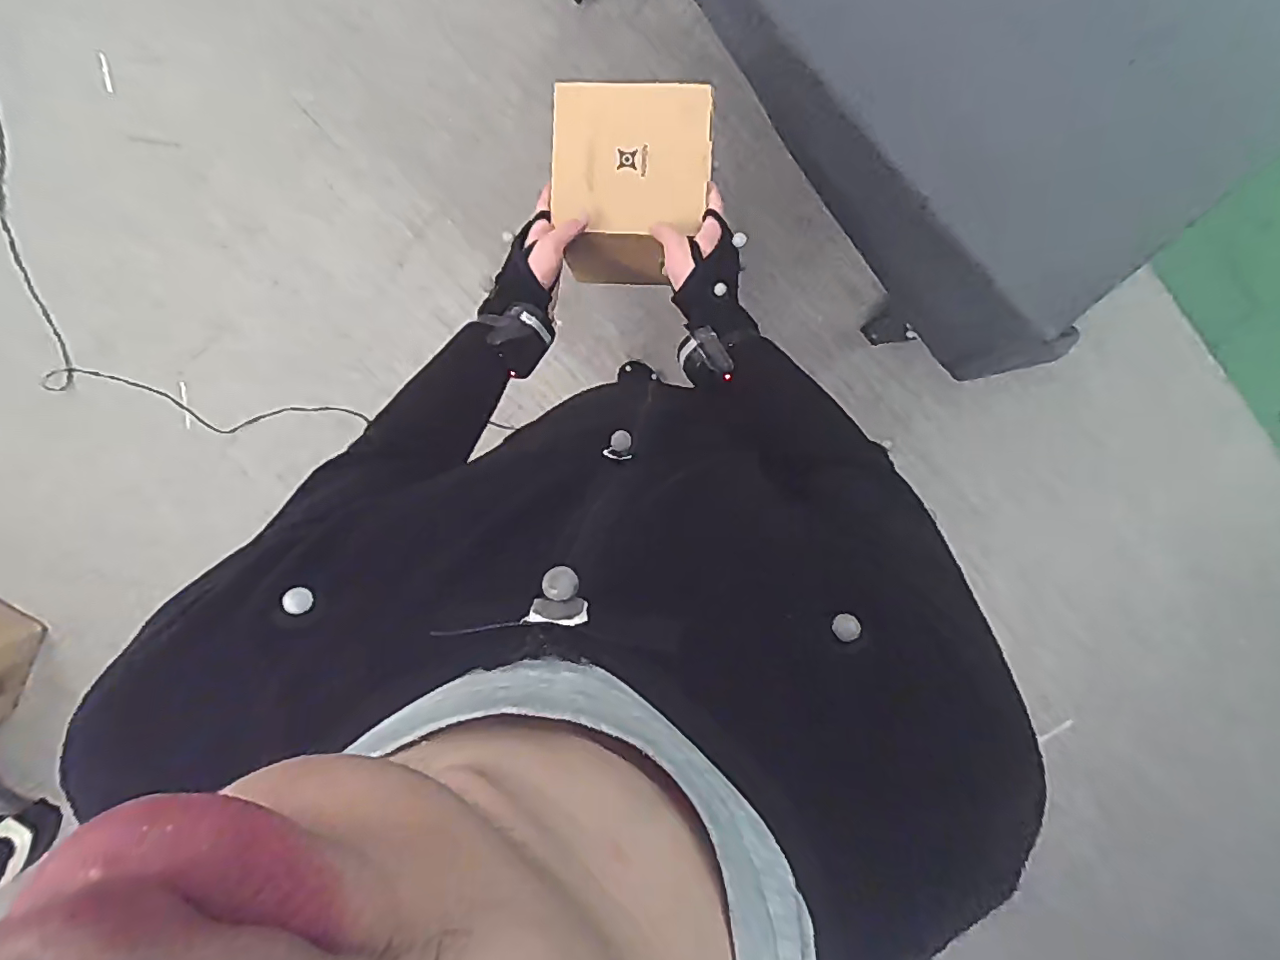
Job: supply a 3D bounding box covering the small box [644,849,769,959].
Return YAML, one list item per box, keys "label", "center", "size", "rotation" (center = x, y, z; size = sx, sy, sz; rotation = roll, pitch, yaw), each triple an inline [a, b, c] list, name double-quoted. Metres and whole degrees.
- label: "small box"
  center: [0.128, 0.857, 1.017]
  size: [0.179, 0.176, 0.168]
  rotation: [-40, 97, 9]

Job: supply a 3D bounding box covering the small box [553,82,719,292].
- label: "small box"
  center: [-0.002, -0.336, 0.651]
  size: [0.179, 0.176, 0.168]
  rotation: [0, 89, 2]
